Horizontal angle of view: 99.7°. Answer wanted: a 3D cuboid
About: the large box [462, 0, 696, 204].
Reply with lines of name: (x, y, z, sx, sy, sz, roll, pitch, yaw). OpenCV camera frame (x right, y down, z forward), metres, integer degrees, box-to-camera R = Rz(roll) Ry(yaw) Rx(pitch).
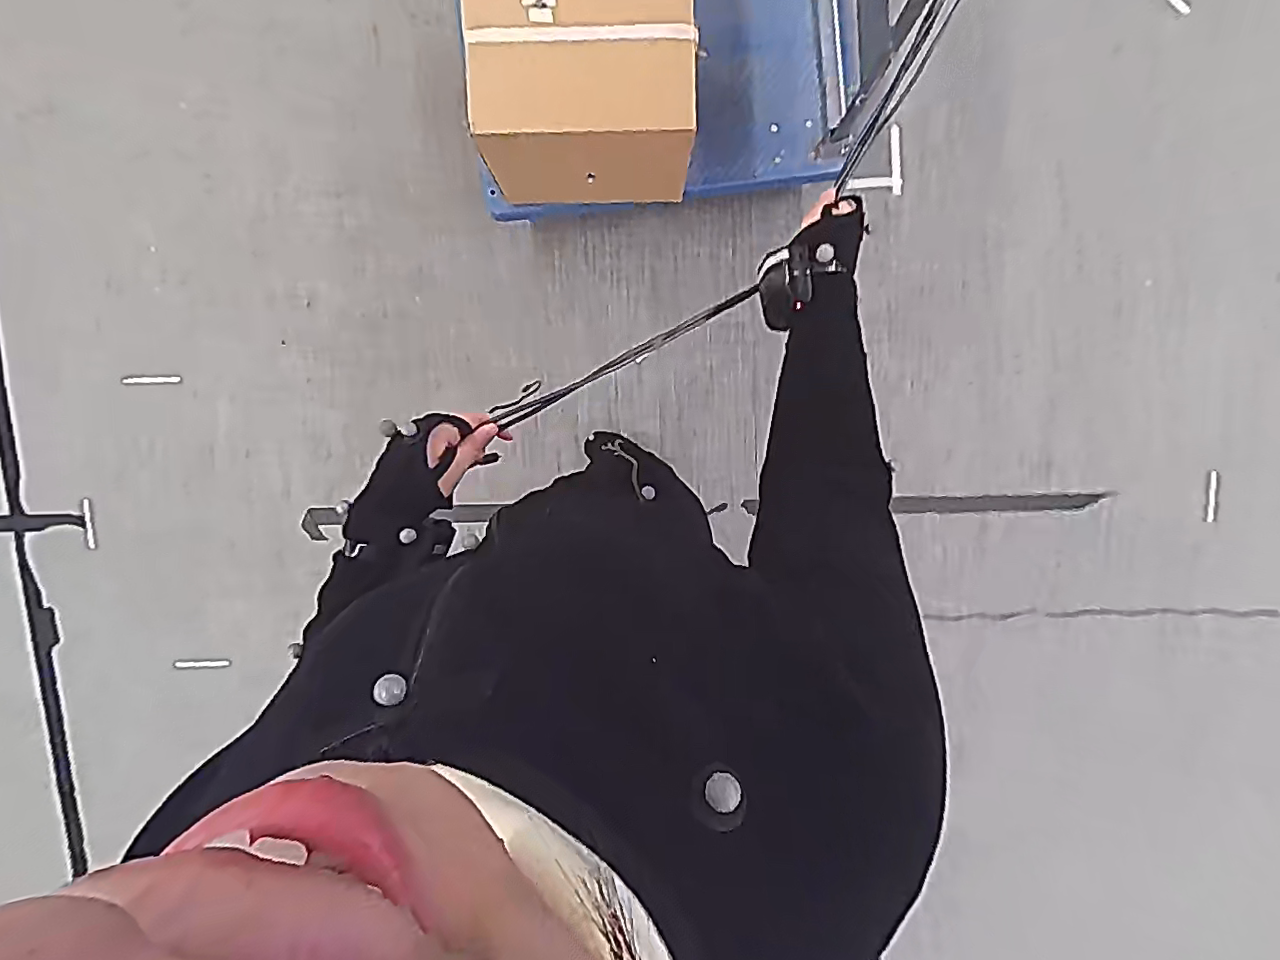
large box: (-0.105, -0.777, 1.083, 0.408, 0.320, 0.320, -2, 95, 0)
